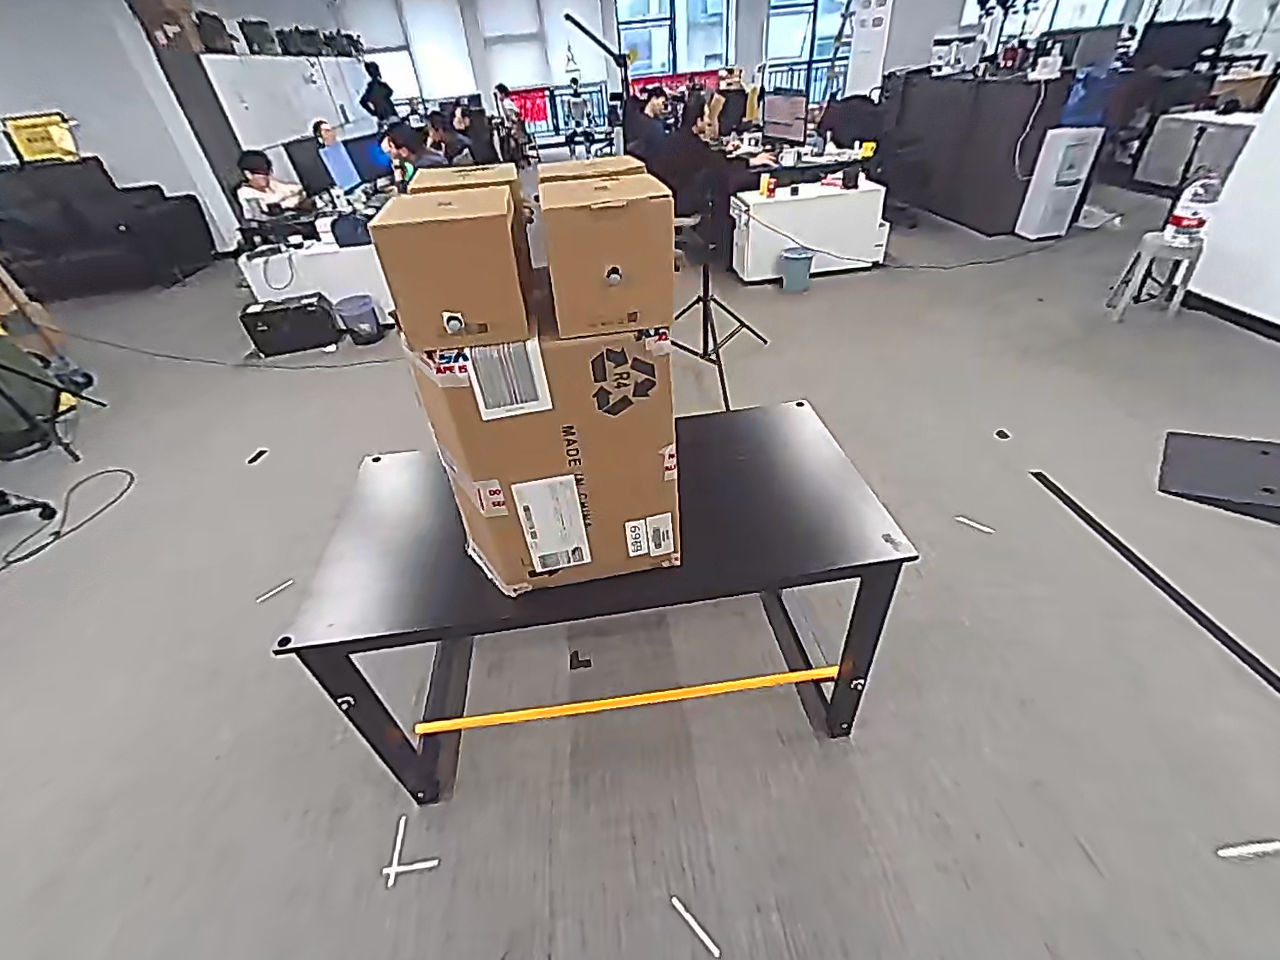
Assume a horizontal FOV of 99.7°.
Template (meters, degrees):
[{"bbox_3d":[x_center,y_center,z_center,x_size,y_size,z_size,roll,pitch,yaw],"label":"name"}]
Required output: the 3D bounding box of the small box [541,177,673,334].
[{"bbox_3d":[-0.047,-0.317,0.772,0.168,0.176,0.179,-7,39,-6],"label":"small box"}]
